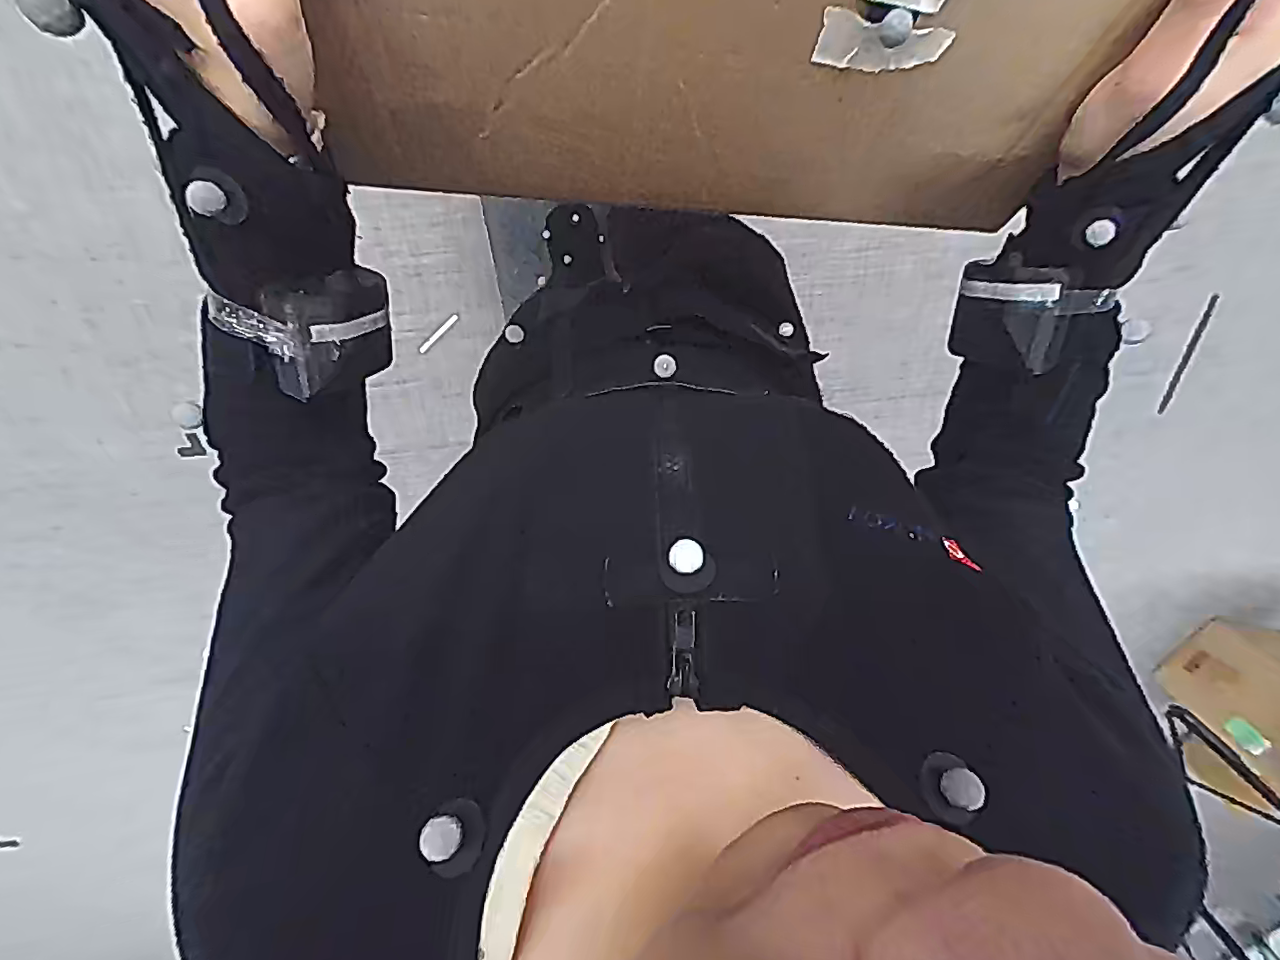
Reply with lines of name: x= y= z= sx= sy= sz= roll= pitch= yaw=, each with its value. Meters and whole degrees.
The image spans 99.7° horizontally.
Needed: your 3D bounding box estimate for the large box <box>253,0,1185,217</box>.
large box: x=0.035 y=-0.359 z=0.238 sx=0.408 sy=0.320 sz=0.320 roll=-1 pitch=161 yaw=-8
